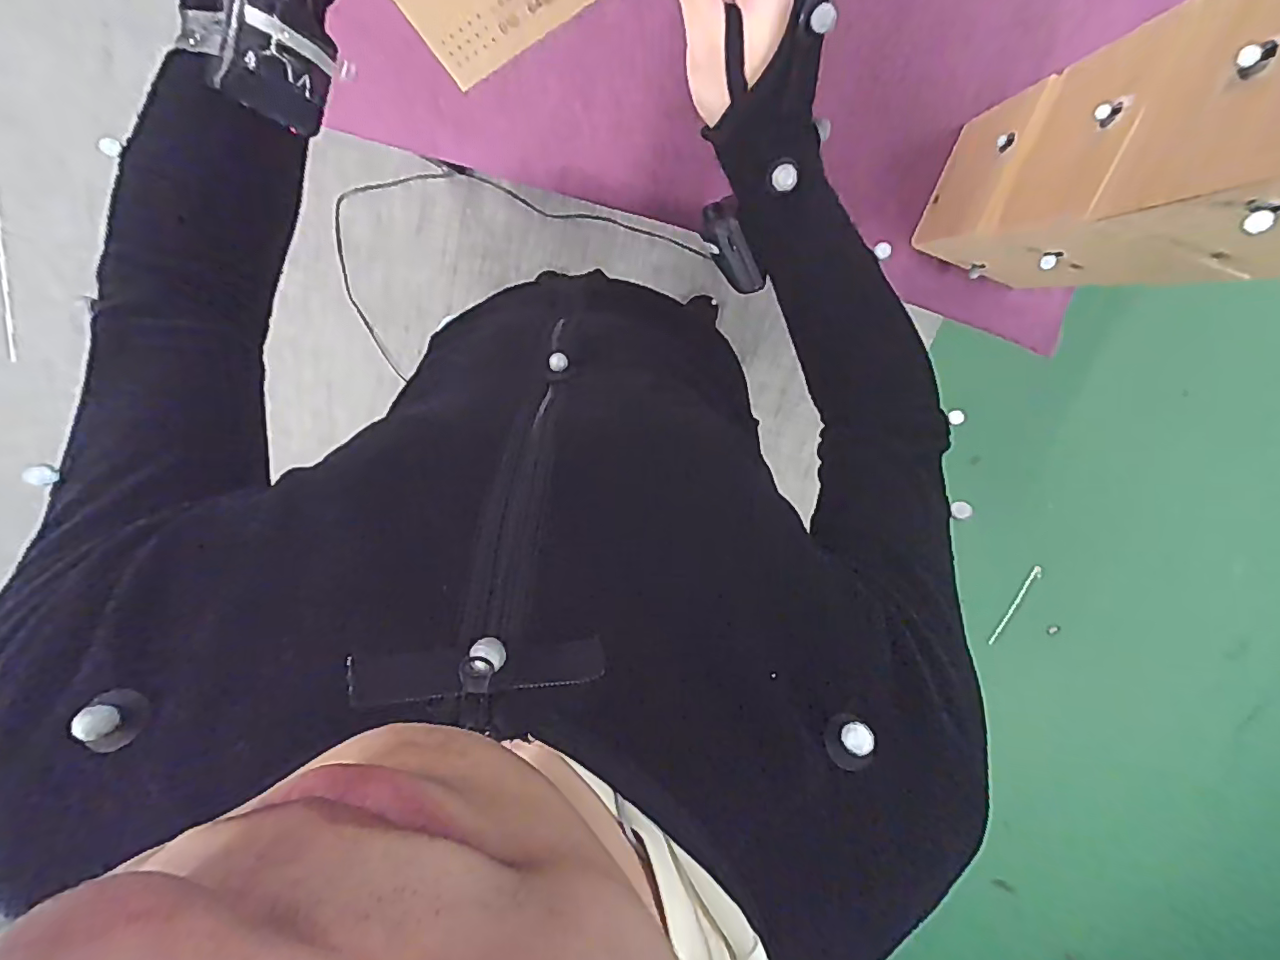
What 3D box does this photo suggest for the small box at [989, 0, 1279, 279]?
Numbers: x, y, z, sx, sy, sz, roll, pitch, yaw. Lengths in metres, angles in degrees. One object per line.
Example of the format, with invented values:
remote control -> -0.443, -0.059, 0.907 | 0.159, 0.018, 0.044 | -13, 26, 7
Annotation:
small box -> 0.492, -0.312, 0.527 | 0.168, 0.176, 0.179 | 19, 108, -4

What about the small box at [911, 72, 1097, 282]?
small box -> 0.489, -0.362, 0.683 | 0.179, 0.176, 0.168 | 18, 107, -6
